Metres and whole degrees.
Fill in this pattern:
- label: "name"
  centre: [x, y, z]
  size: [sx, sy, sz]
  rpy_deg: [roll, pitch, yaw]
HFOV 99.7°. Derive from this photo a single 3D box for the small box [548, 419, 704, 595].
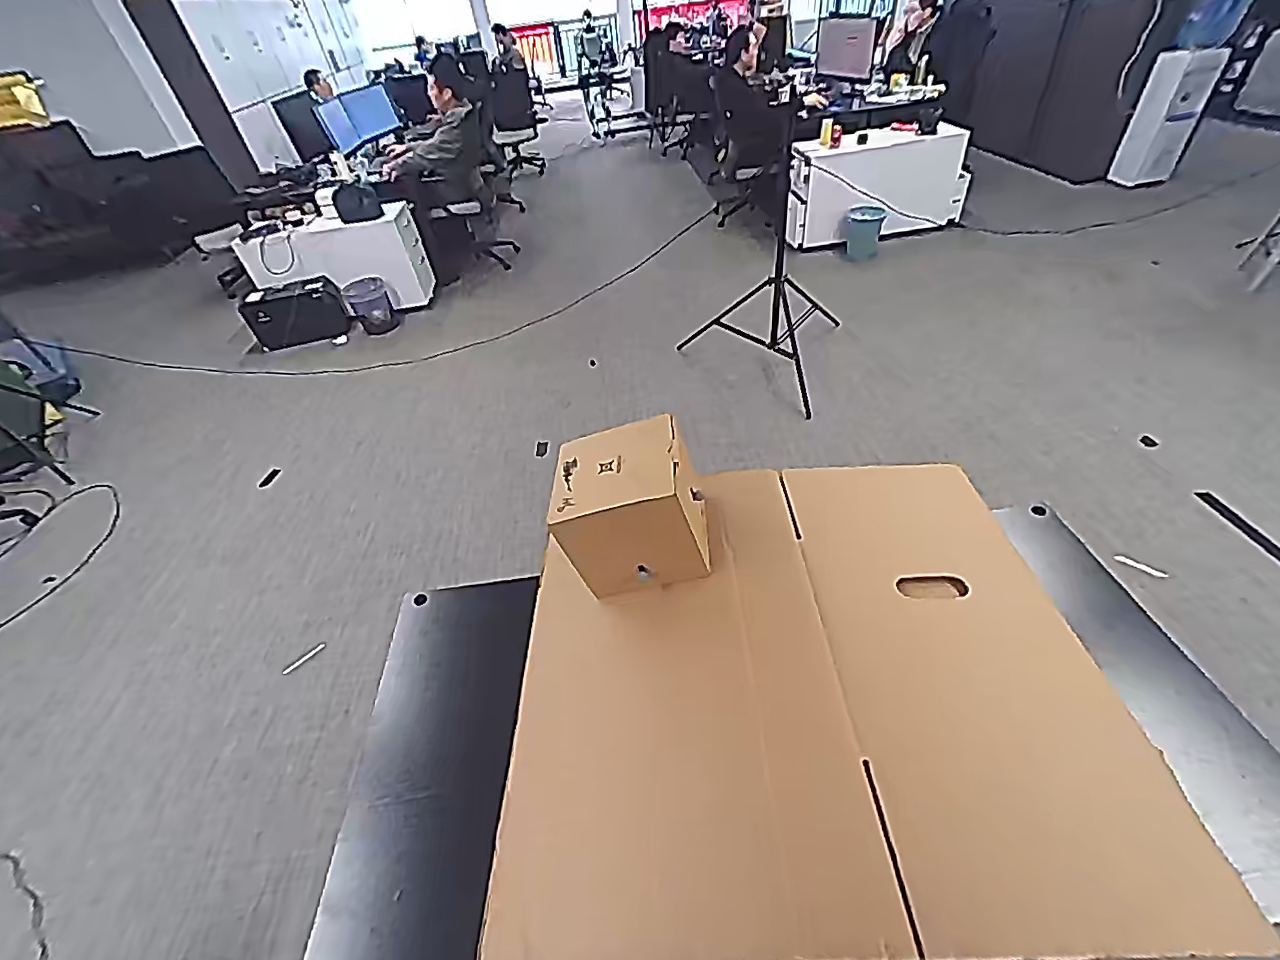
- label: "small box"
  centre: [-0.010, 0.043, 0.780]
  size: [0.179, 0.176, 0.168]
  rpy_deg: [-14, 40, 13]
